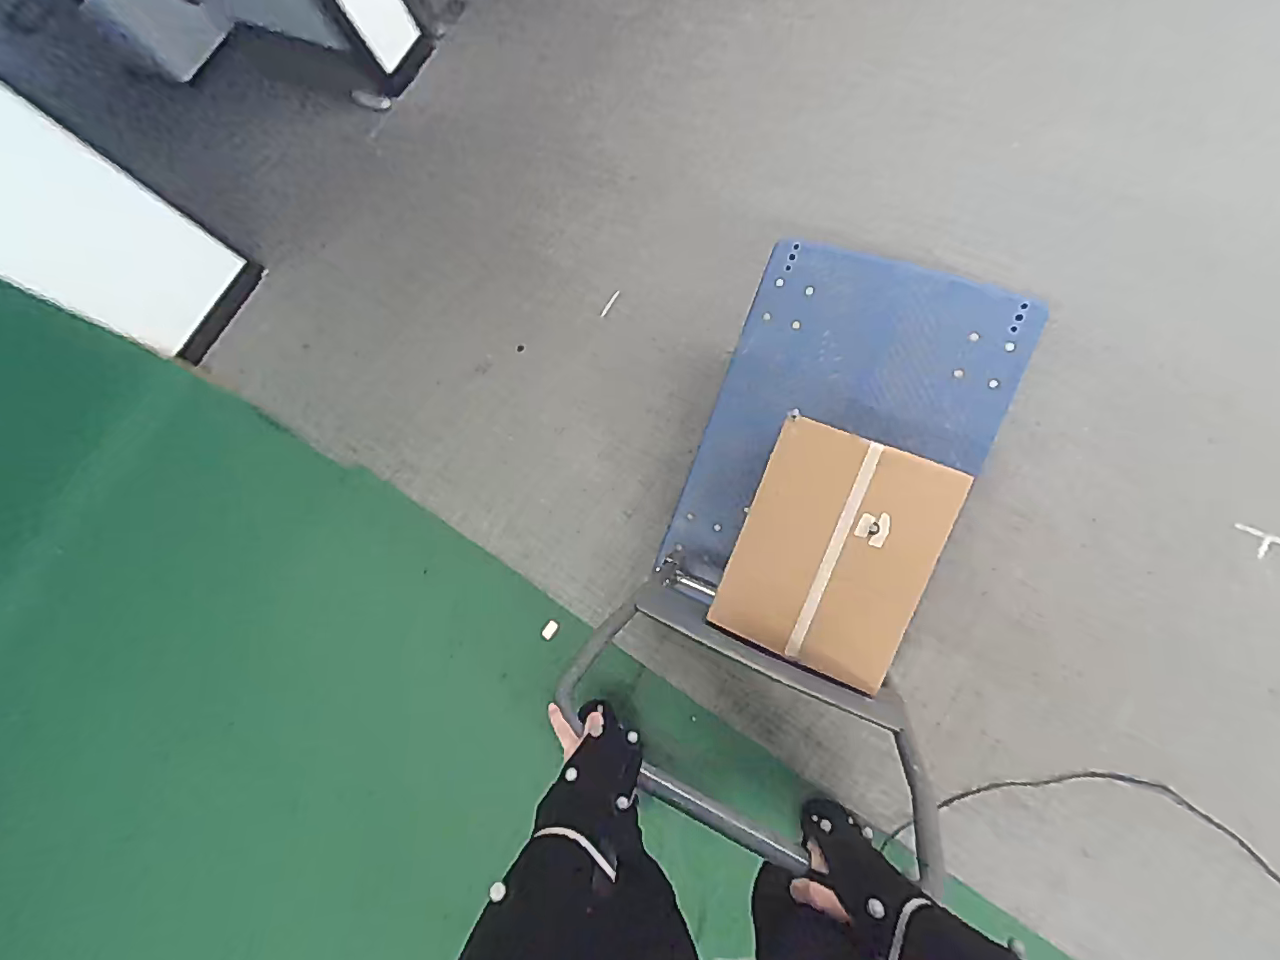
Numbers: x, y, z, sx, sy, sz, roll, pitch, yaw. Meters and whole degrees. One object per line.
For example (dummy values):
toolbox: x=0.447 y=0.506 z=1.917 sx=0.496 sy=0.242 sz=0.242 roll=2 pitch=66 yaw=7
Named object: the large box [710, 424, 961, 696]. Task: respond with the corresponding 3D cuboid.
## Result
large box: x=0.373 y=0.139 z=1.096 sx=0.320 sy=0.320 sz=0.408 roll=23 pitch=96 yaw=14
